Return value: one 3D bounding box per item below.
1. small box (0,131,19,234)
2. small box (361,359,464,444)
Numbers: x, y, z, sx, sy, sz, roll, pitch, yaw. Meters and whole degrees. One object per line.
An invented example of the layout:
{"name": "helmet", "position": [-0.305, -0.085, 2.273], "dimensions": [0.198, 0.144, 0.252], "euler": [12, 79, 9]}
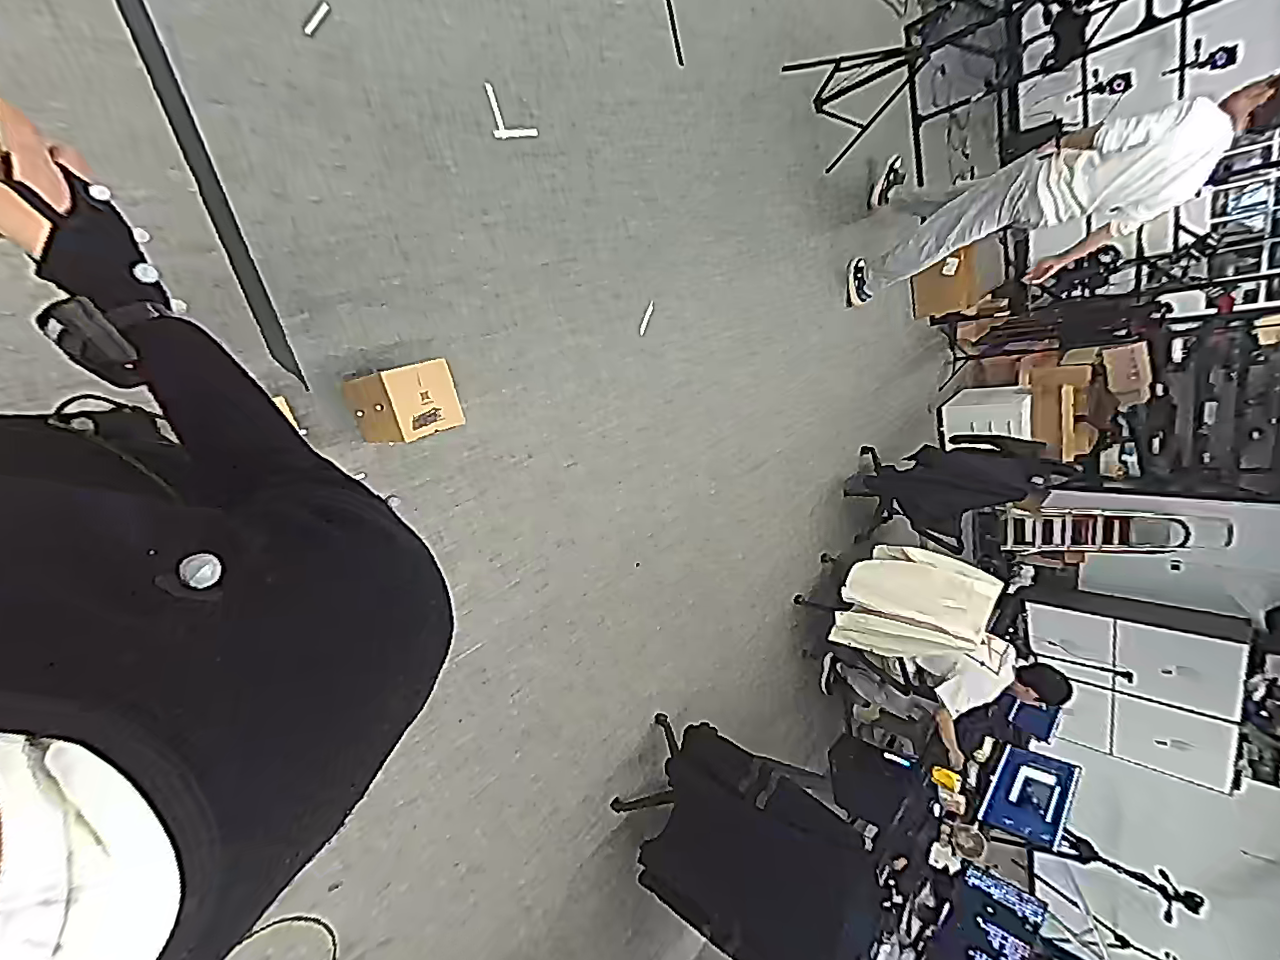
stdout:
{"name": "small box", "position": [-0.614, -0.279, 0.395], "dimensions": [0.179, 0.176, 0.168], "euler": [-17, 116, -53]}
{"name": "small box", "position": [-0.583, -0.199, 1.382], "dimensions": [0.168, 0.176, 0.179], "euler": [-27, 110, -38]}
